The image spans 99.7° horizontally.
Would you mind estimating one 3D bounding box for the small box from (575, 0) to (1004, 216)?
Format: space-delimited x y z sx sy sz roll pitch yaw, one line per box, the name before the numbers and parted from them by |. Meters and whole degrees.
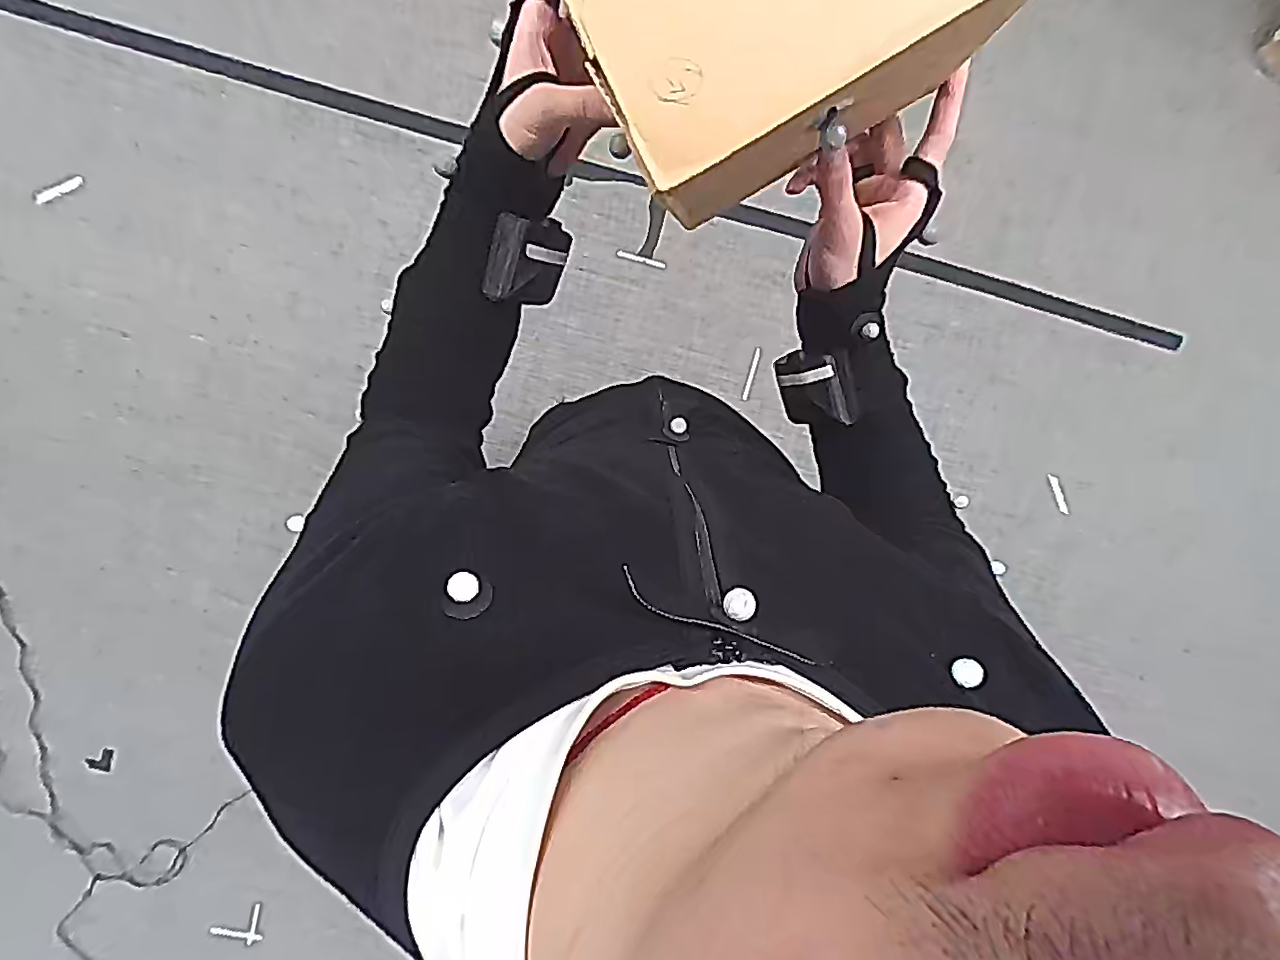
small box | 0.062 -0.259 0.276 0.179 0.176 0.168 -24 105 16
